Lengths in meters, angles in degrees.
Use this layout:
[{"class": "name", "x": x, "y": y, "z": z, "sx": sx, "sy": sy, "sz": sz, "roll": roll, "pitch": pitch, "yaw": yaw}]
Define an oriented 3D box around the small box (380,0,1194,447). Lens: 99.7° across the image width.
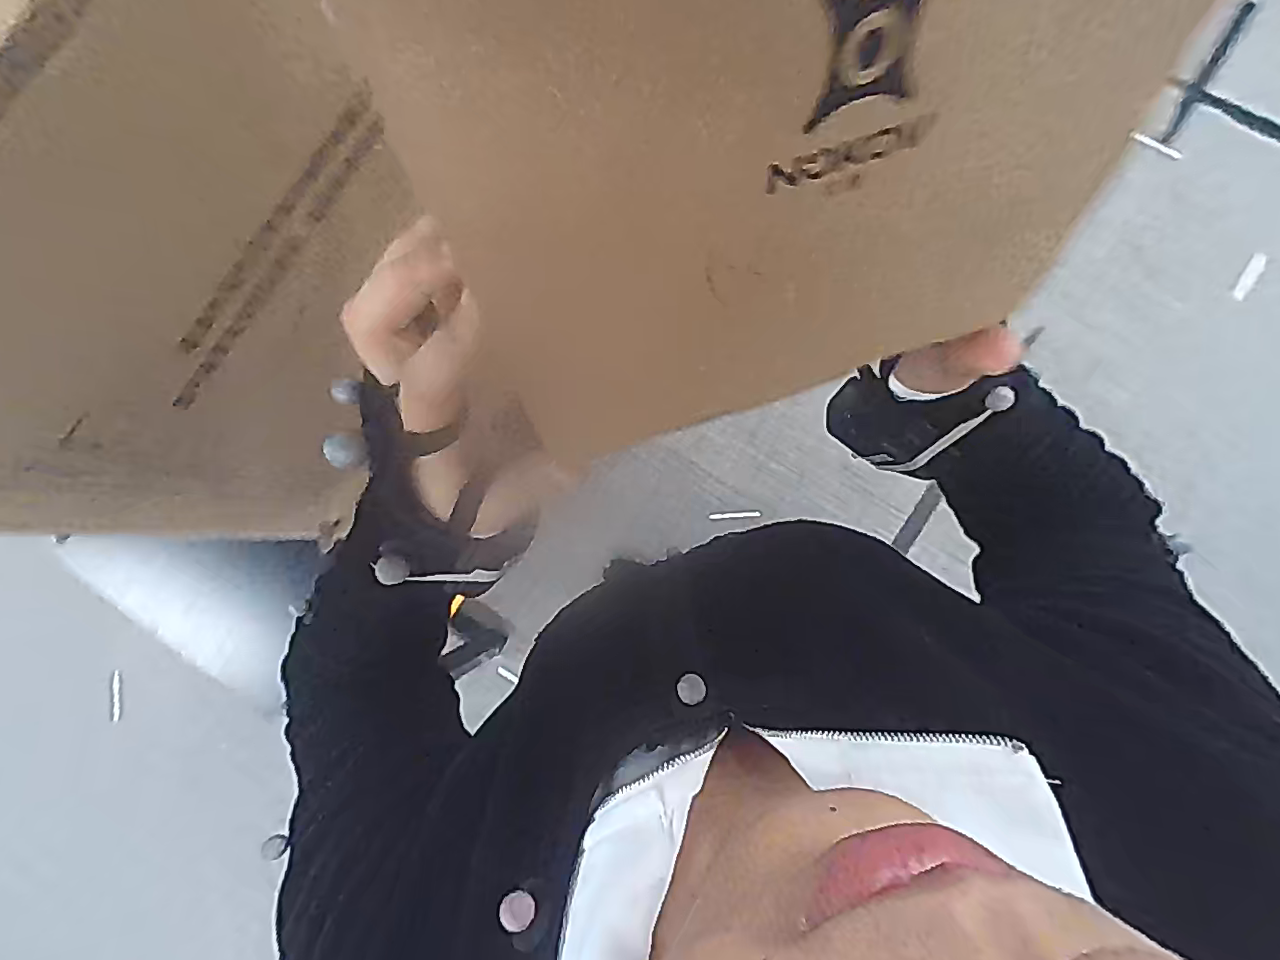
[{"class": "small box", "x": 0.017, "y": -0.143, "z": 0.155, "sx": 0.168, "sy": 0.179, "sz": 0.176, "roll": -19, "pitch": 59, "yaw": -5}]
